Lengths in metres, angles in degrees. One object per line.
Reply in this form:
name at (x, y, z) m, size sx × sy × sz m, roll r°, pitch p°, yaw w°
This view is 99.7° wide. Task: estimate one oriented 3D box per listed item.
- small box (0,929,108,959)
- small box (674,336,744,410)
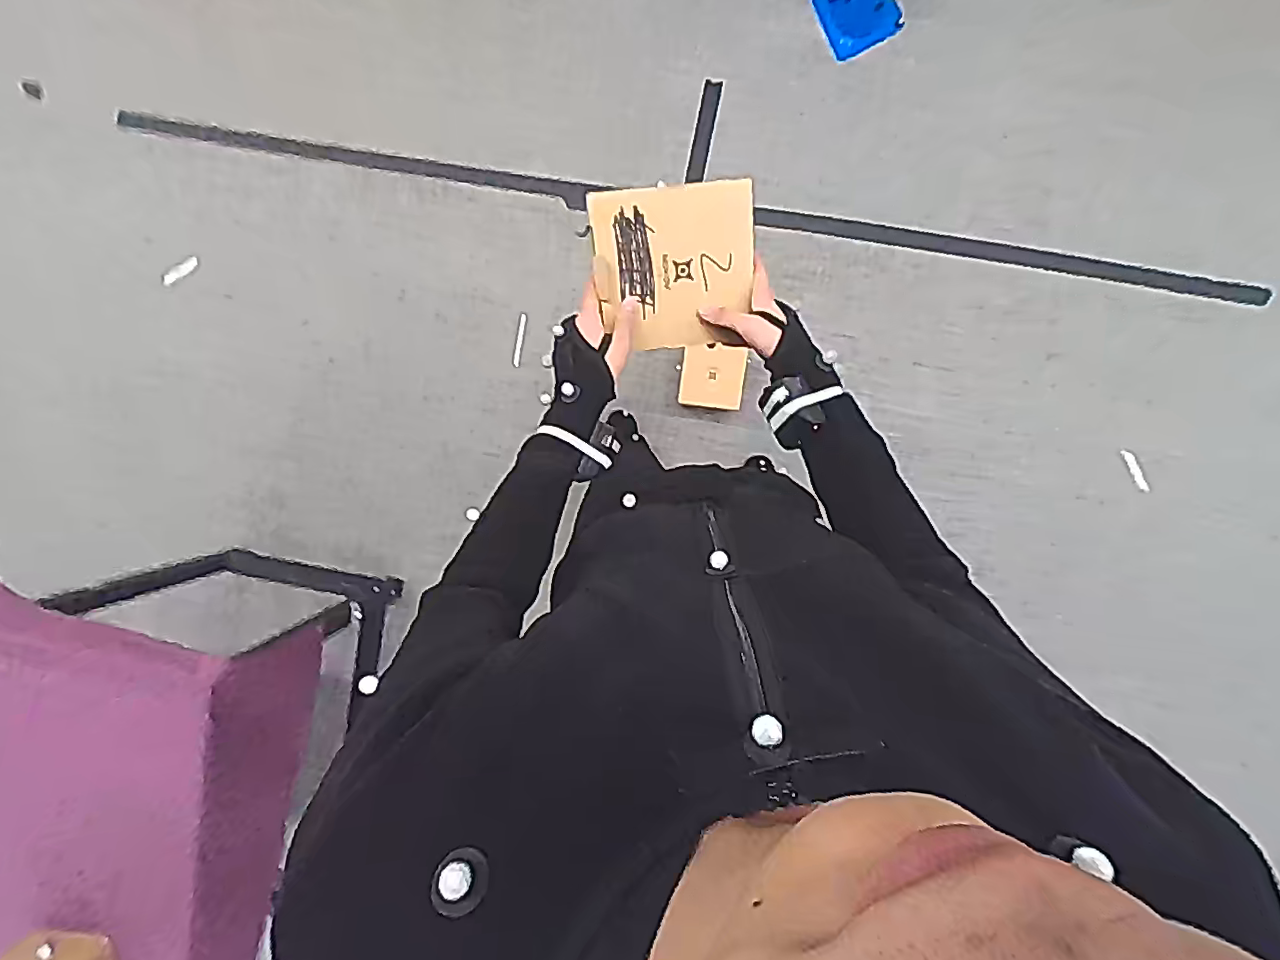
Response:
small box at (-1.114, 0.969, 0.974) m, size 0.168 × 0.176 × 0.179 m, roll 0°, pitch 95°, yaw 4°
small box at (0.188, -0.292, 1.504) m, size 0.168 × 0.176 × 0.179 m, roll 8°, pitch 96°, yaw 3°
